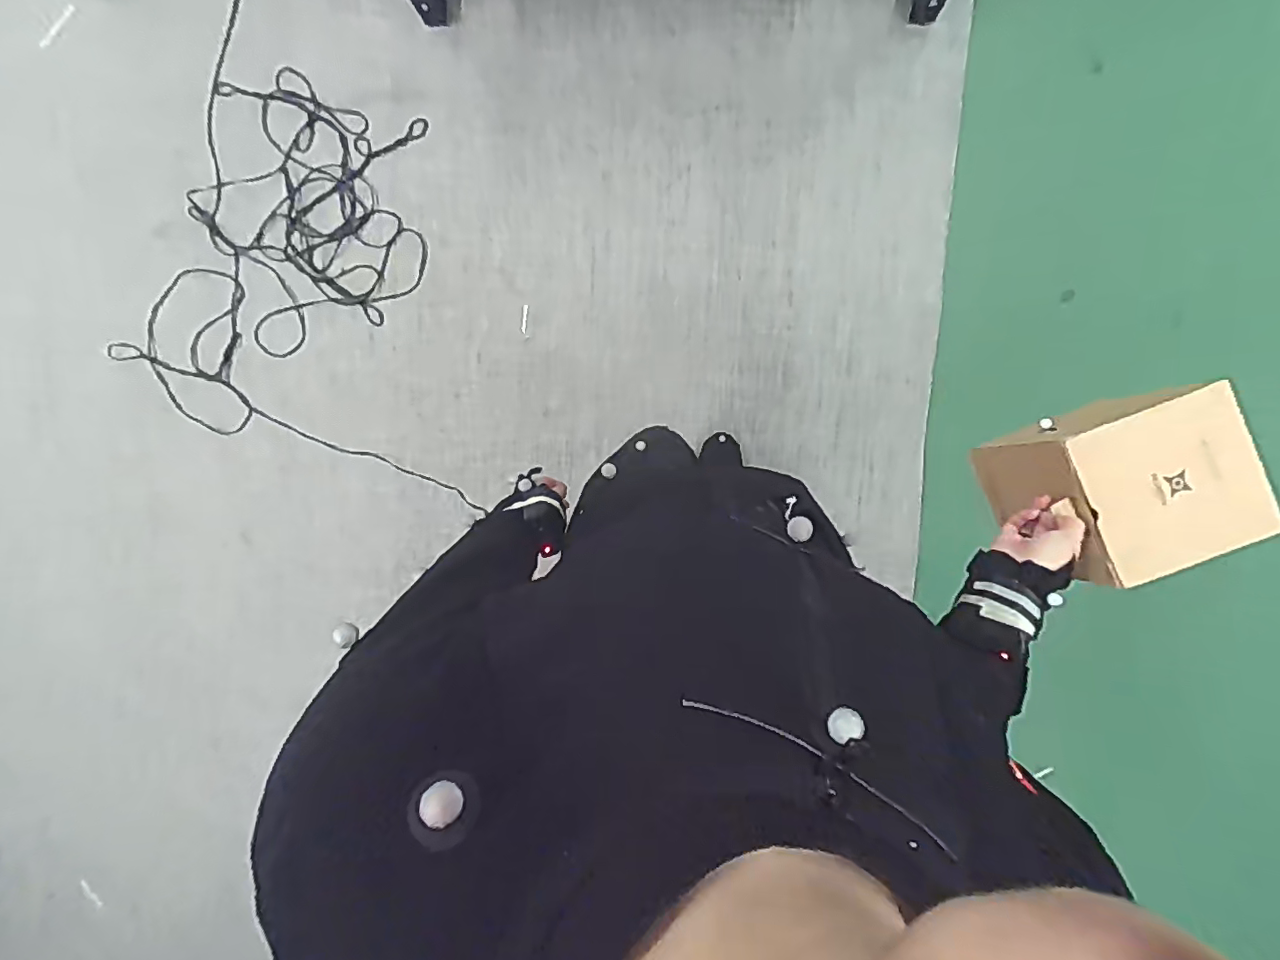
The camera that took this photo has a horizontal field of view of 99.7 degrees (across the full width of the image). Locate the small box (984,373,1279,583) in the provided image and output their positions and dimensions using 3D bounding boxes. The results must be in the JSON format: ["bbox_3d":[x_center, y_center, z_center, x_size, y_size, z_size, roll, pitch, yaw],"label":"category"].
[{"bbox_3d":[0.537,0.000,0.620,0.179,0.176,0.168,-23,89,1],"label":"small box"}]
